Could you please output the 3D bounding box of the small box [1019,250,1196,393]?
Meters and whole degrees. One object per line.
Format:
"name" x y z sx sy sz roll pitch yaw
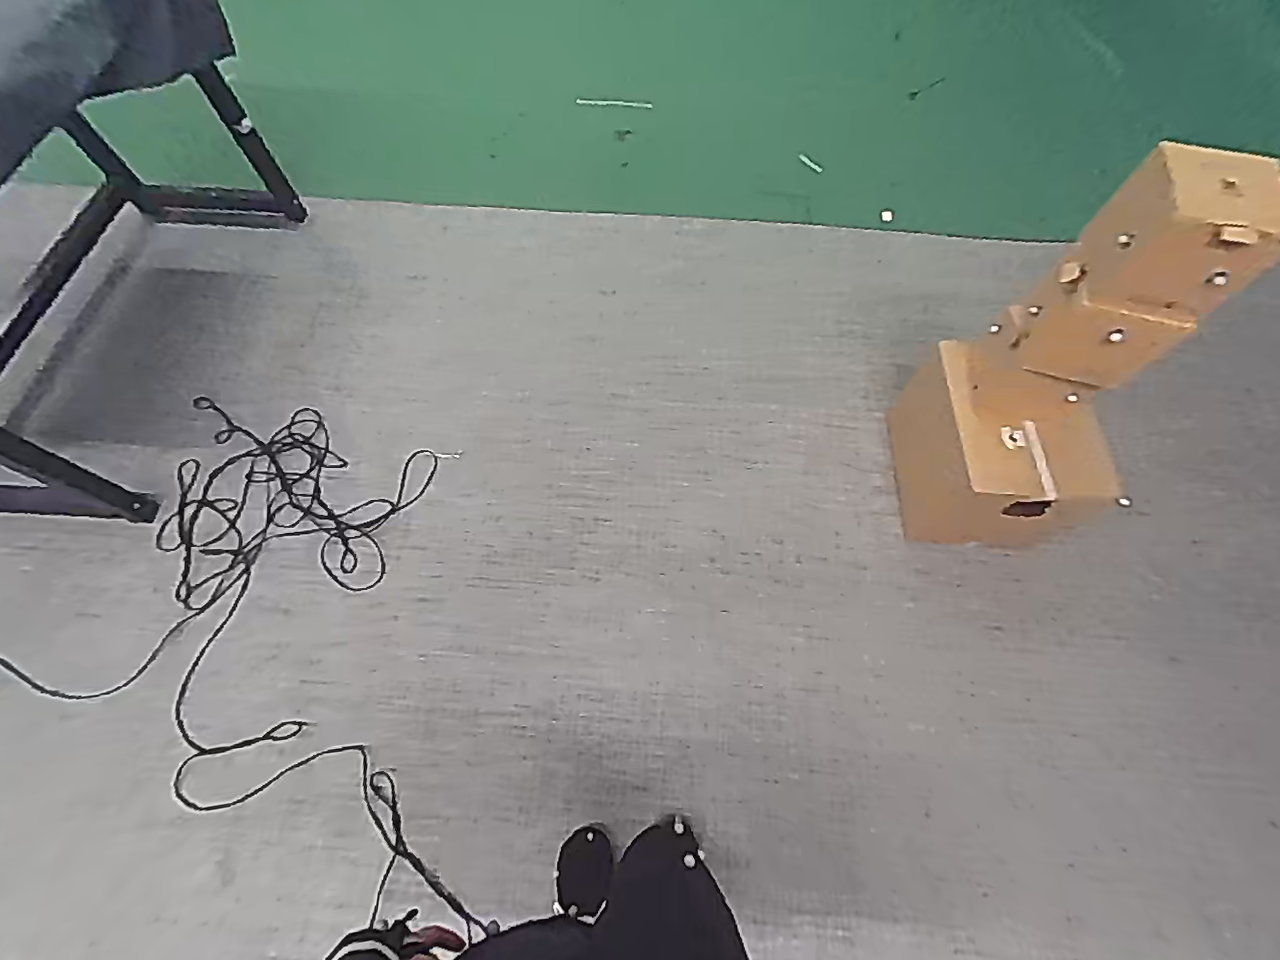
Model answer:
"small box" 0.833 -0.281 0.981 0.179 0.176 0.168 16 65 7

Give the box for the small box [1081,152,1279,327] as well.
"small box" 0.837 -0.367 0.842 0.168 0.176 0.179 13 64 5

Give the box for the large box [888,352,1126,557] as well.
"large box" 0.847 -0.055 1.322 0.320 0.320 0.408 3 65 2
